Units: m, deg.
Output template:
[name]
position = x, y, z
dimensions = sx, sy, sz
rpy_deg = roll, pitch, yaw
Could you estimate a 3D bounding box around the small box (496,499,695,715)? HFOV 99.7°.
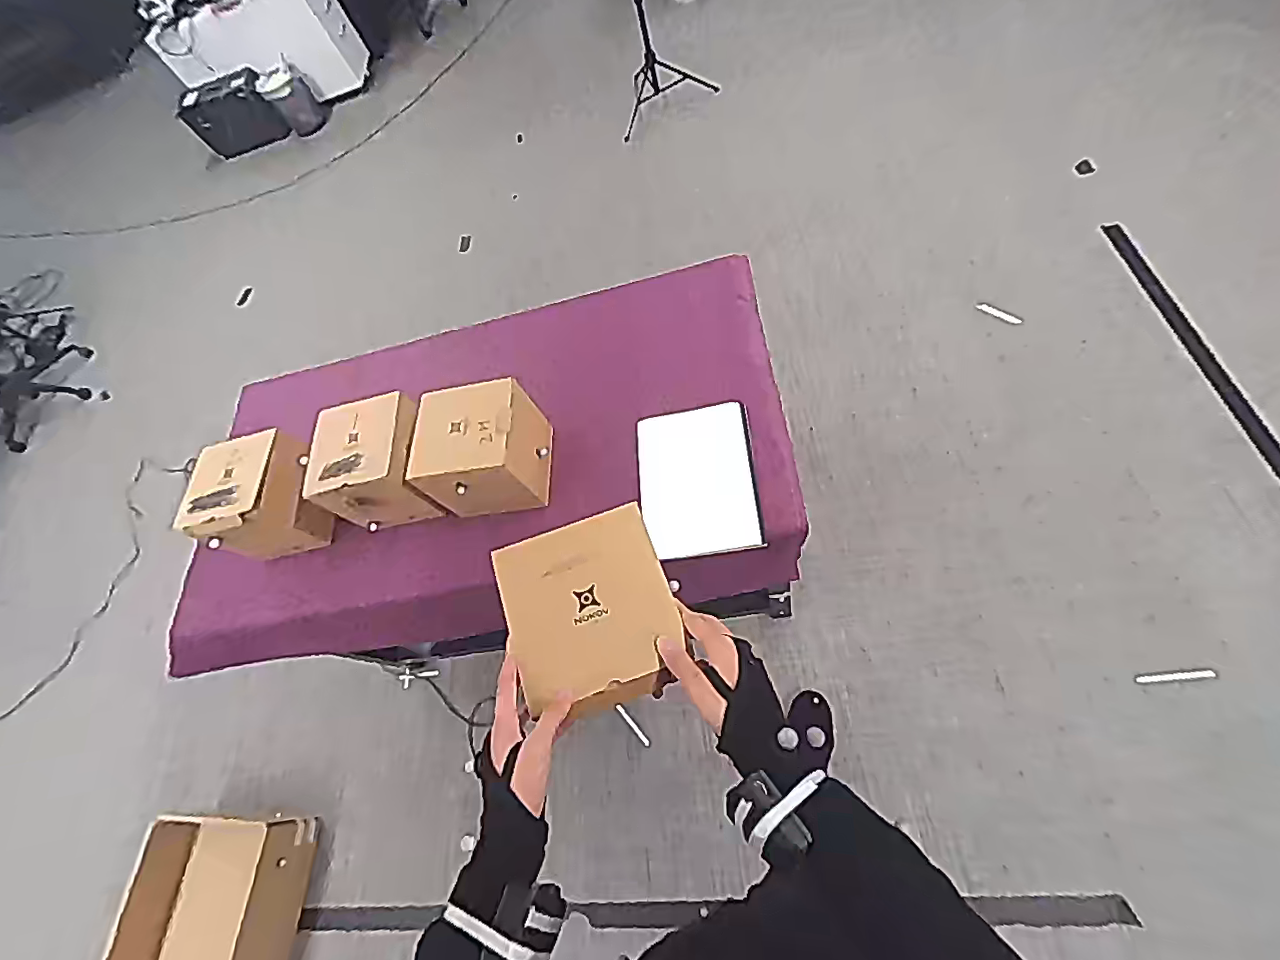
[small box]
position = -0.043, 0.151, 0.611
dimensions = 0.168, 0.176, 0.179
rpy_deg = -19, 64, -6
